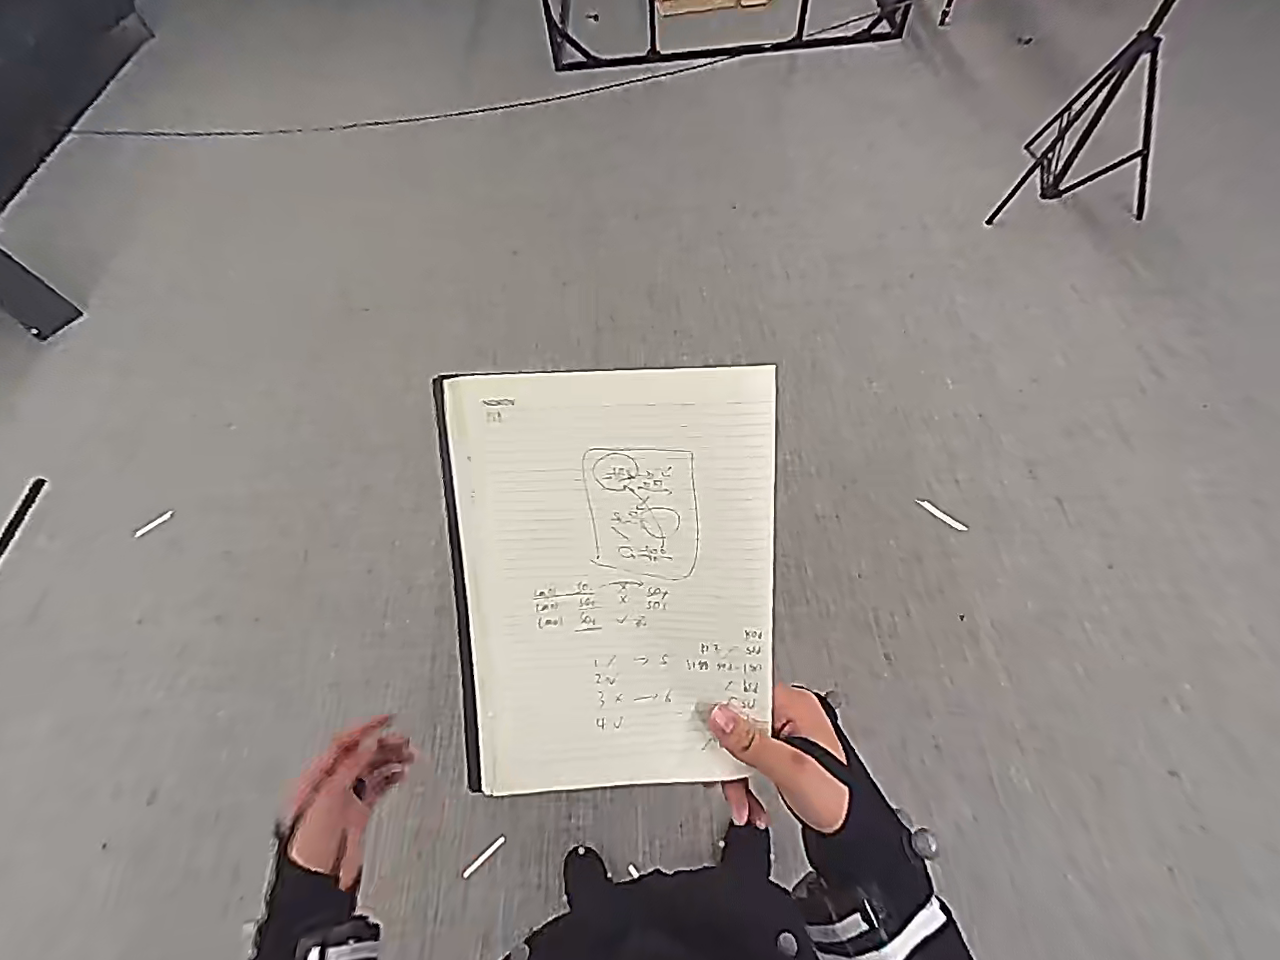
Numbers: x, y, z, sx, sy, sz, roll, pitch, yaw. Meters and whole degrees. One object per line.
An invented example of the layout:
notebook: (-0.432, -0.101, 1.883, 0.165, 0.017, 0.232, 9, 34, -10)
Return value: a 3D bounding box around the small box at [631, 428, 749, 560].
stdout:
small box: (0.088, 0.031, 1.015, 0.179, 0.176, 0.168, -14, 60, -3)
